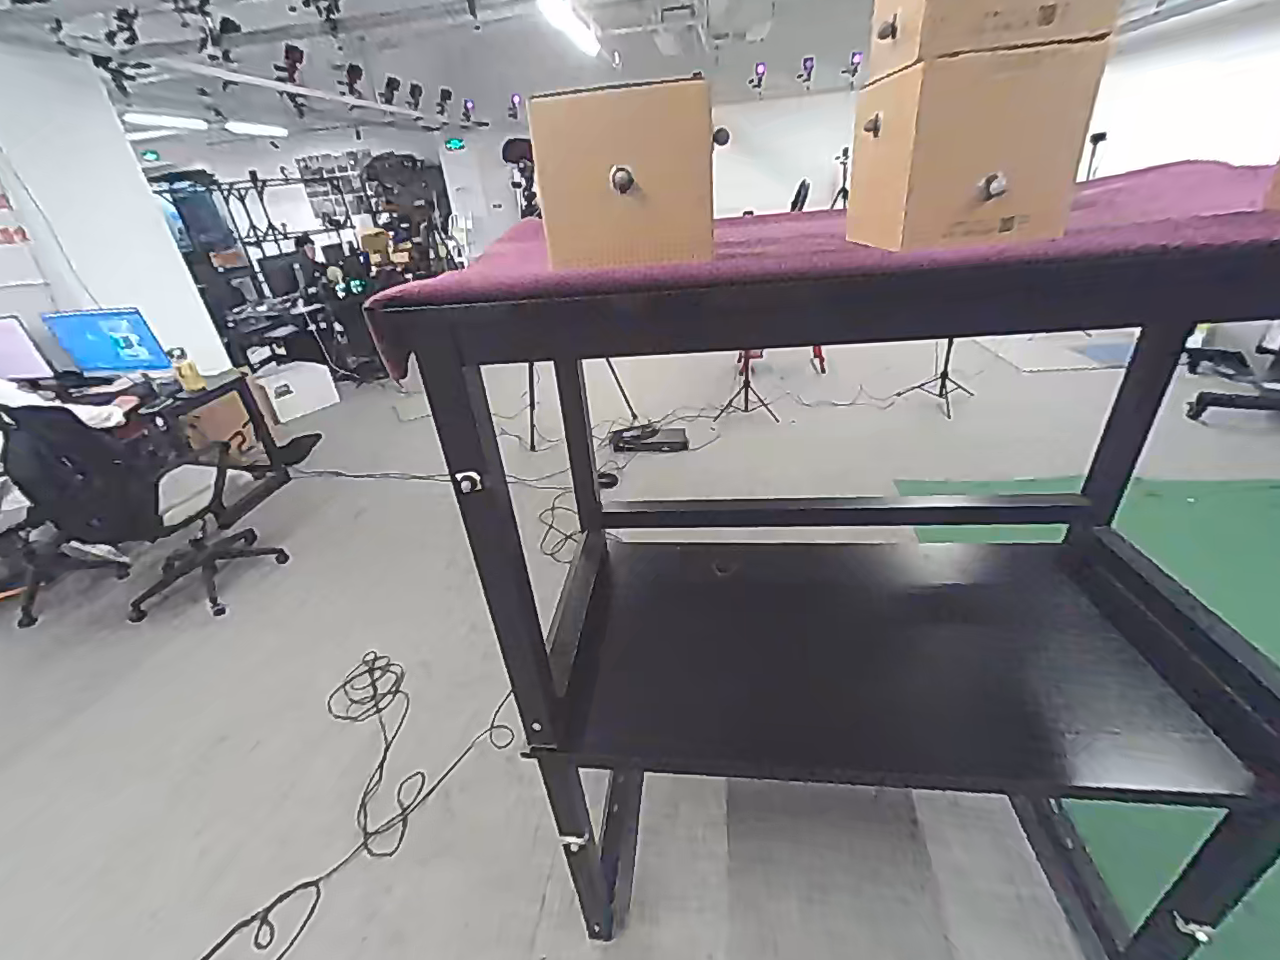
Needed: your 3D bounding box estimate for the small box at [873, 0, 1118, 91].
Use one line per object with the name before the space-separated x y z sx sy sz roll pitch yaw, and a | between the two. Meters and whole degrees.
small box | 0.338 -0.494 0.519 0.168 0.176 0.179 -2 29 6
